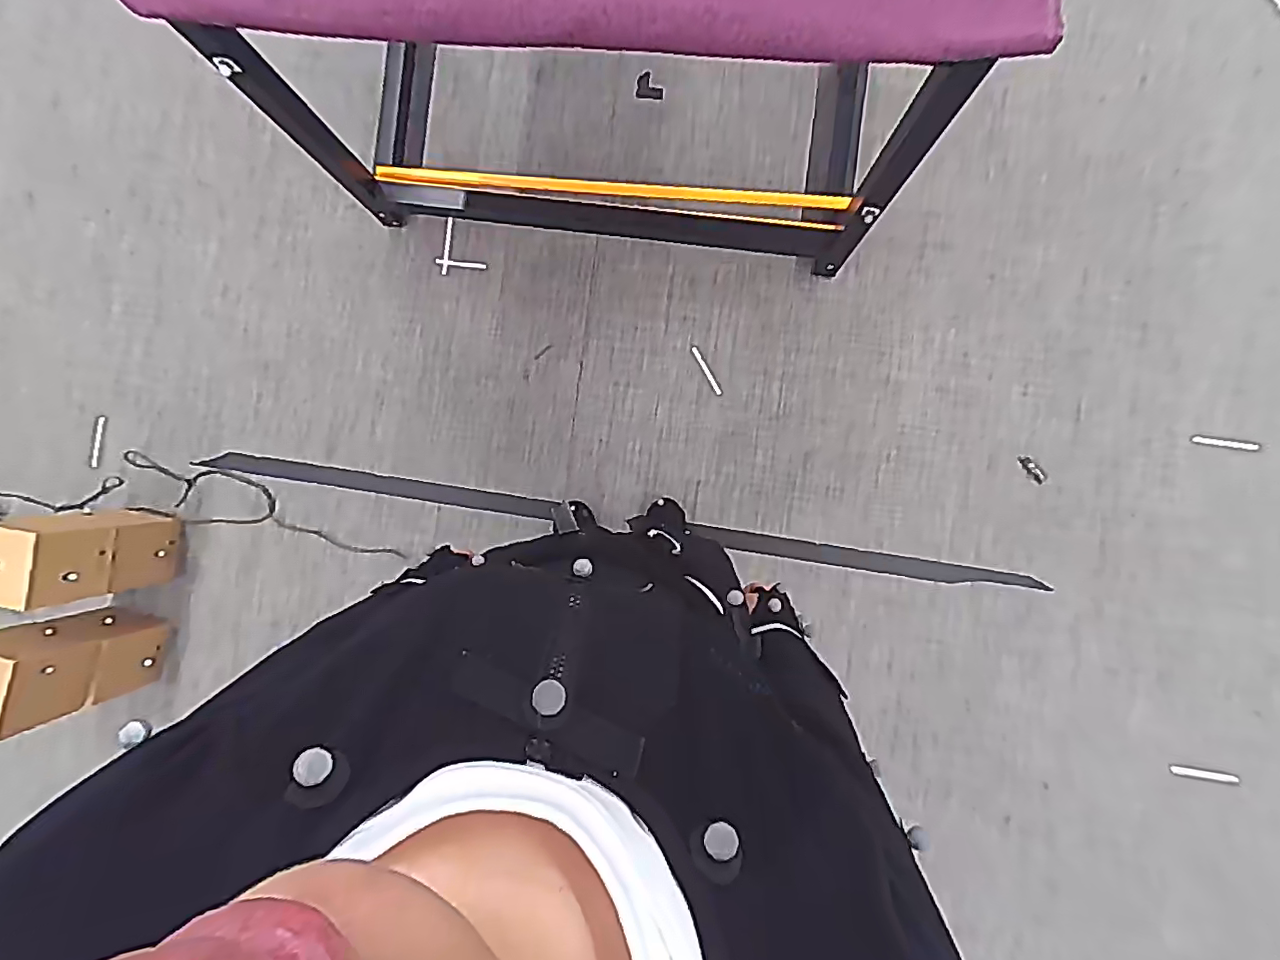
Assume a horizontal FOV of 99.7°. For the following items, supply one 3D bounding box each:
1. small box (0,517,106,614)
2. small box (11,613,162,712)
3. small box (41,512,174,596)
[{"bbox_3d":[-1.319,0.176,1.165,0.179,0.176,0.168,9,91,3],"label":"small box"},{"bbox_3d":[-1.346,0.437,1.325,0.179,0.176,0.168,15,90,1],"label":"small box"},{"bbox_3d":[-1.312,0.174,1.327,0.179,0.176,0.168,10,91,2],"label":"small box"}]
